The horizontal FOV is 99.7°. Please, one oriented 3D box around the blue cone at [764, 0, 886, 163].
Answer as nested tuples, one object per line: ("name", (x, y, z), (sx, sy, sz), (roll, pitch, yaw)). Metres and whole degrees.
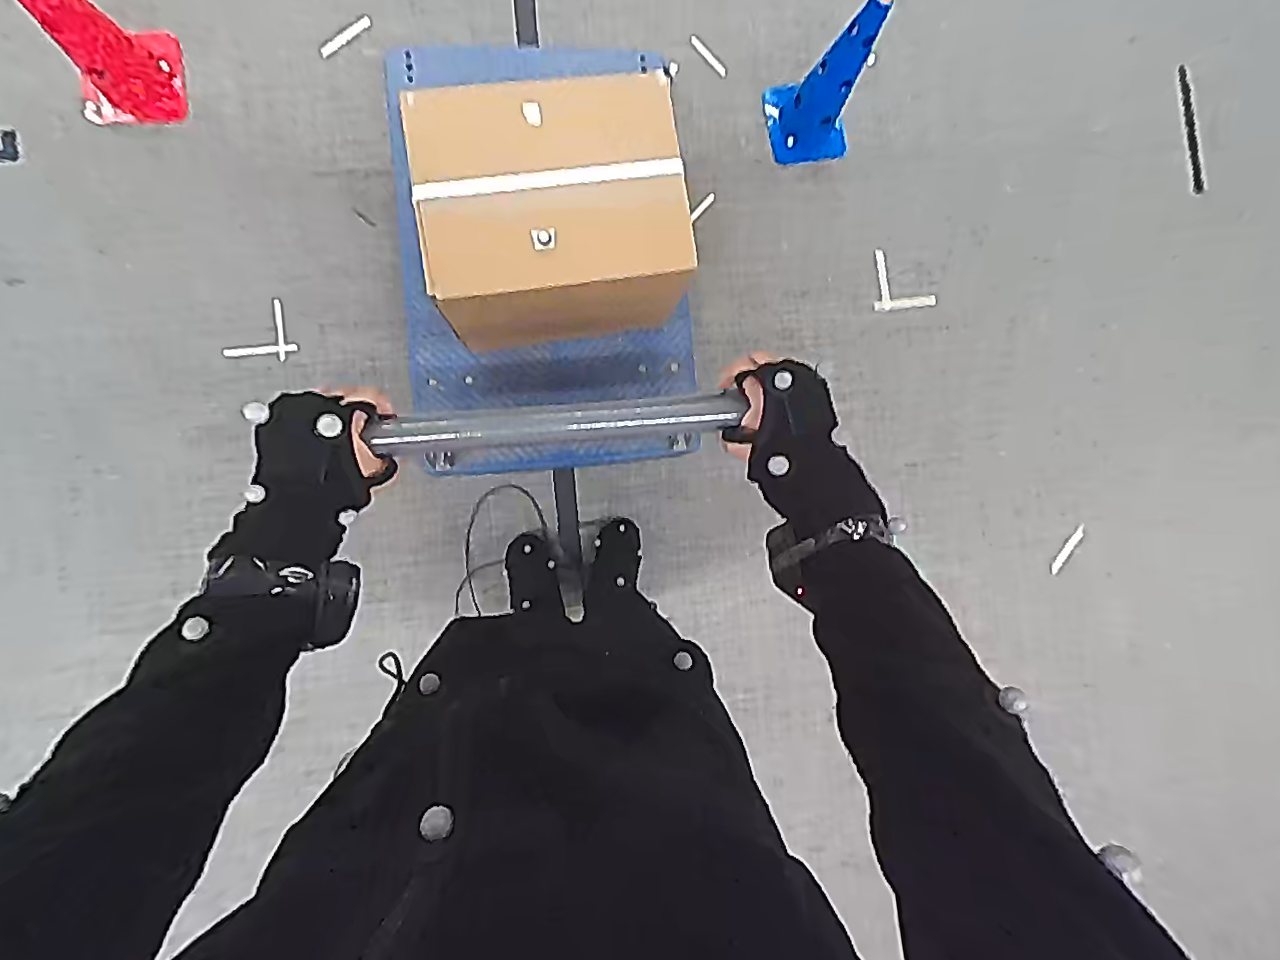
("blue cone", (0.441, -0.919, 1.227), (0.193, 0.380, 0.192), (-10, 88, -8))
